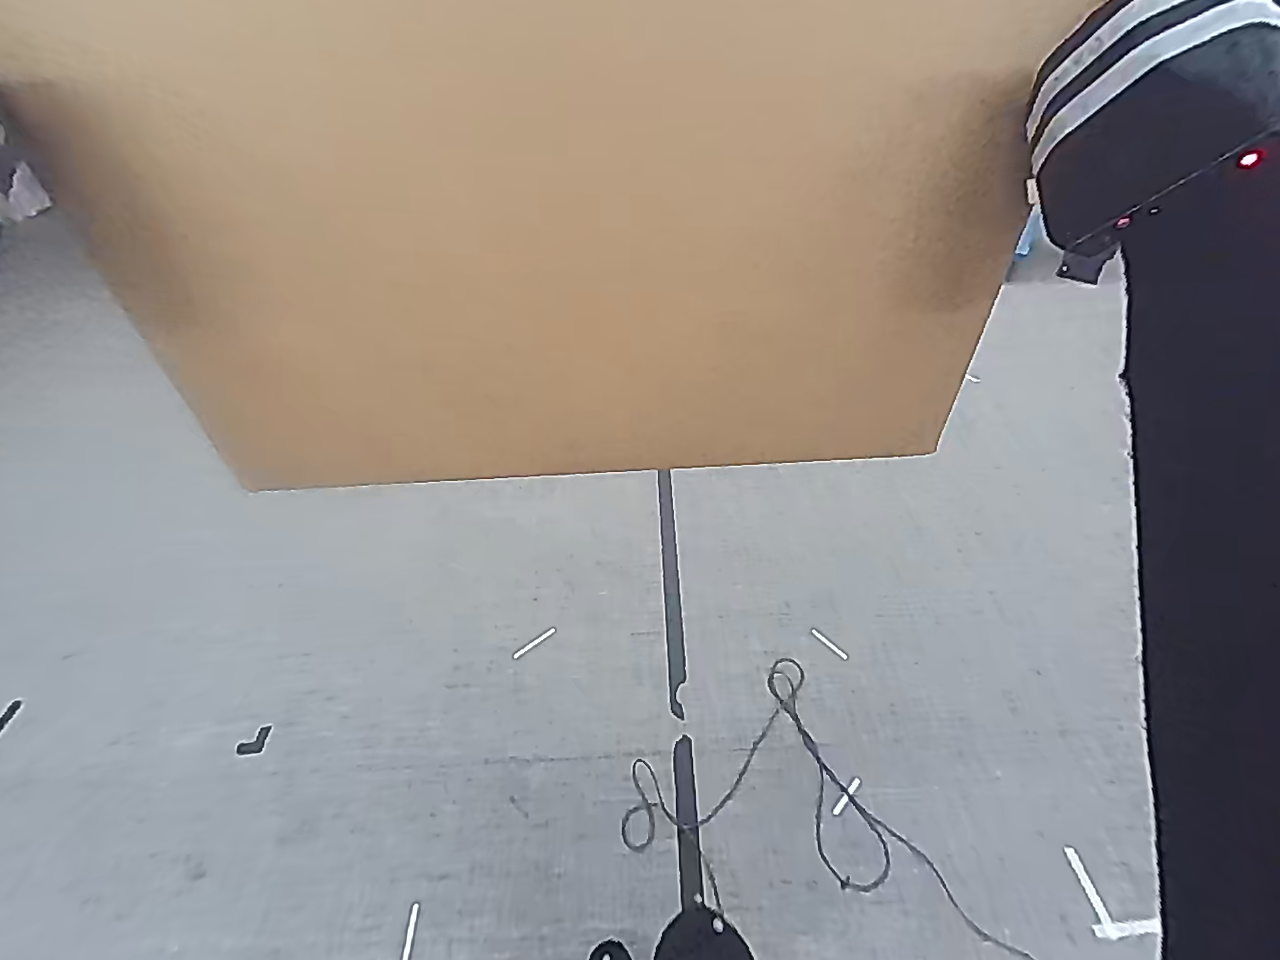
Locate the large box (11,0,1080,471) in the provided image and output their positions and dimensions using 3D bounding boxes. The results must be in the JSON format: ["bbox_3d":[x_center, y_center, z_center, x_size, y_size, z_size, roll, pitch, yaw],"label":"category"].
[{"bbox_3d":[-0.035,-0.223,0.350,0.408,0.320,0.320,-3,40,-2],"label":"large box"}]
